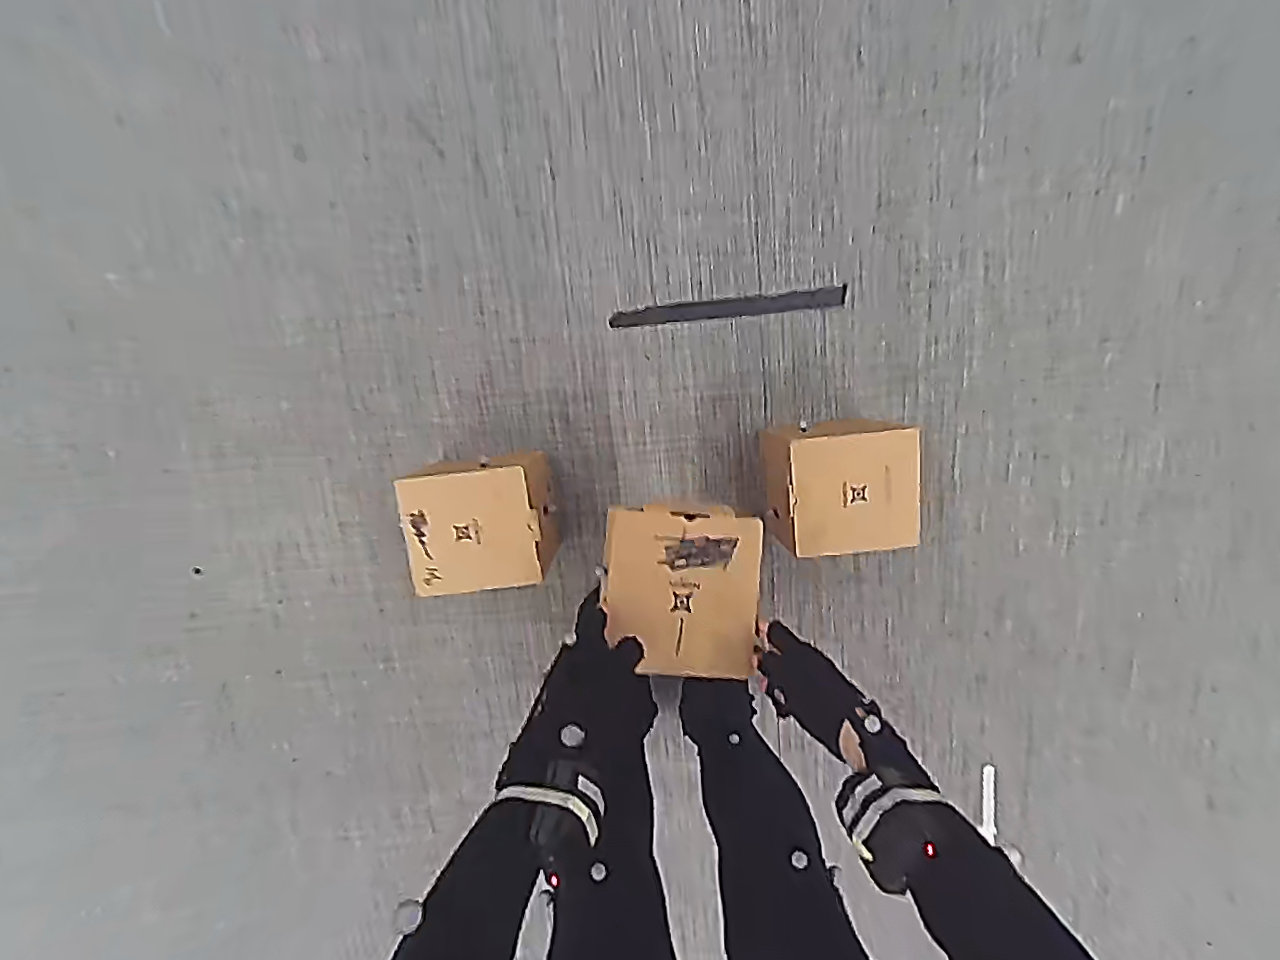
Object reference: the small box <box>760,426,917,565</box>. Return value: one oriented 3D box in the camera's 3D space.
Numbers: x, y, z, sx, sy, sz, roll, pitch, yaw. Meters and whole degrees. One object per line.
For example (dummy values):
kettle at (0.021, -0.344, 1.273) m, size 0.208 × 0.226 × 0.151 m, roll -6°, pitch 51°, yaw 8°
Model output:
small box at (0.283, 0.015, 0.805) m, size 0.179 × 0.176 × 0.168 m, roll -7°, pitch 101°, yaw -1°

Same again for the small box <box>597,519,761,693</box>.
small box at (0.038, 0.141, 0.657) m, size 0.168 × 0.176 × 0.179 m, roll 5°, pitch 86°, yaw -5°

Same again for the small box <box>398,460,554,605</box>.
small box at (-0.227, 0.068, 0.803) m, size 0.179 × 0.176 × 0.168 m, roll -7°, pitch 100°, yaw -1°
